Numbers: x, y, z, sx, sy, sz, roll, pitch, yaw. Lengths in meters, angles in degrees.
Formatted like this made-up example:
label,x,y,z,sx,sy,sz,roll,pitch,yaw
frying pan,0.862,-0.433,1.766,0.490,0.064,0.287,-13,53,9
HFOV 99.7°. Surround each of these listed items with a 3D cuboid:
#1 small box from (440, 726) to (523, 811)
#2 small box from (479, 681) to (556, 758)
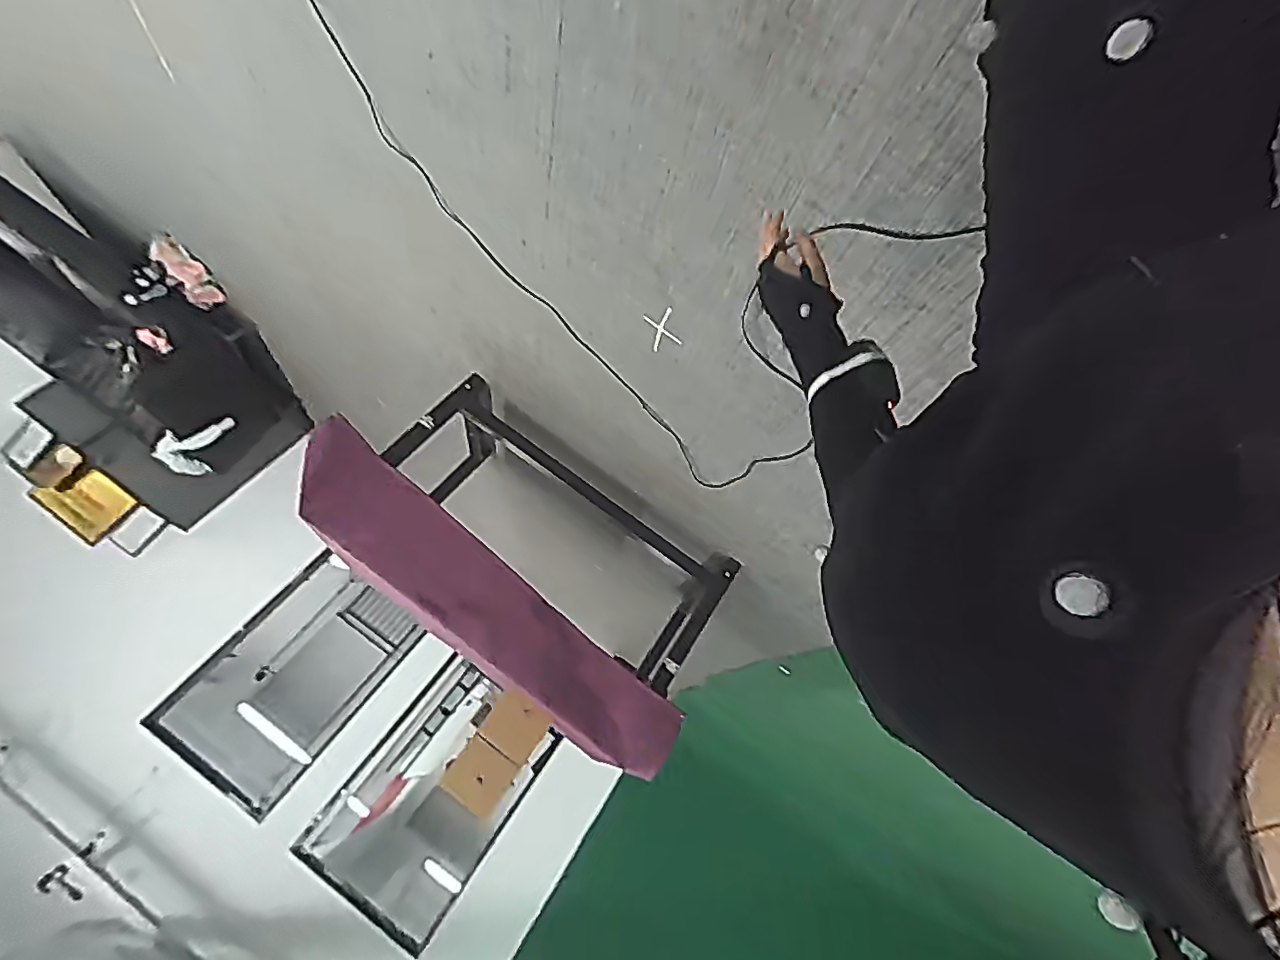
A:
label,x,y,z,sx,sy,sz,roll,pitch,yaw
small box,-0.487,0.886,1.680,0.179,0.176,0.168,34,153,6
small box,-0.396,0.771,1.754,0.179,0.176,0.168,35,153,7
